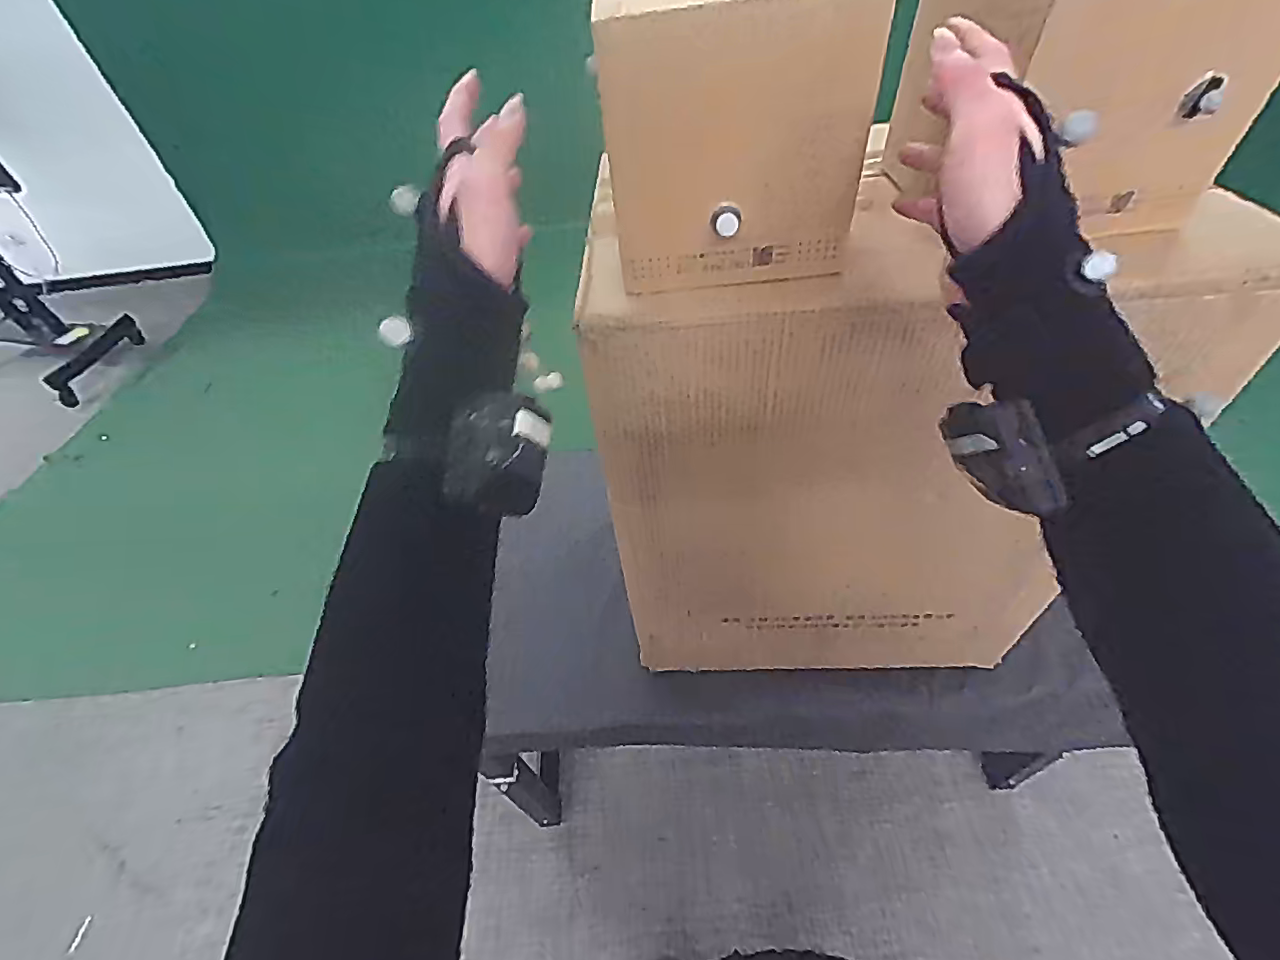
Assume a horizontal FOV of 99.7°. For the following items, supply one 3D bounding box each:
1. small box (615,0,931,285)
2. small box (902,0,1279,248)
[{"bbox_3d":[0.078,-0.262,0.389,0.168,0.176,0.179,-2,50,6],"label":"small box"},{"bbox_3d":[0.324,-0.284,0.392,0.168,0.176,0.179,-4,50,-2],"label":"small box"}]
